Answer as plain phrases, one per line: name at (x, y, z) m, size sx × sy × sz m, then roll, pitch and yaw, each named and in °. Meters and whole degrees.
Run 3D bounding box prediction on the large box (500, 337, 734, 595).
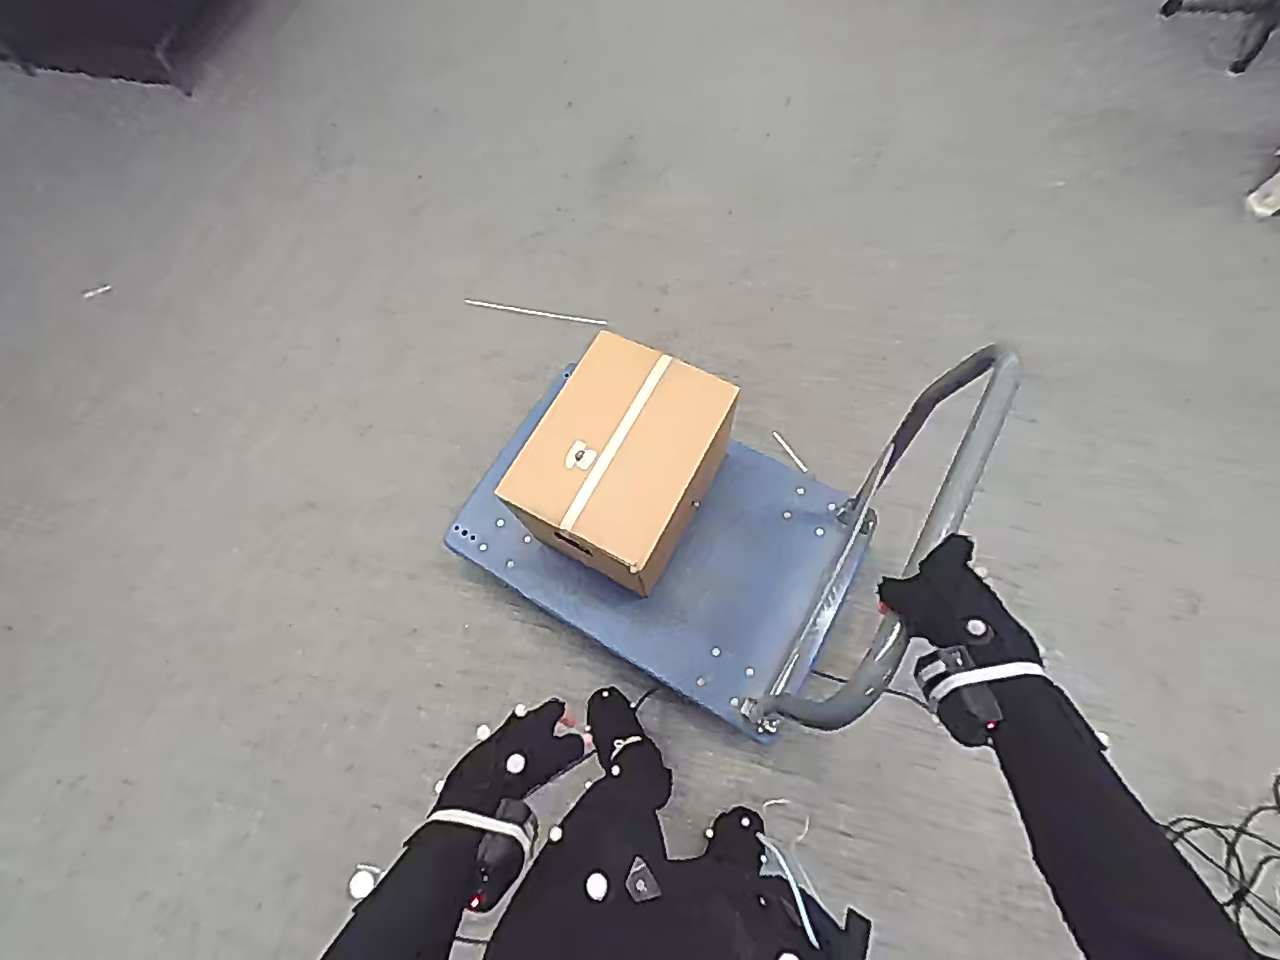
large box at (-0.028, -0.017, 1.164) m, size 0.320 × 0.320 × 0.408 m, roll 26°, pitch 74°, yaw 14°
